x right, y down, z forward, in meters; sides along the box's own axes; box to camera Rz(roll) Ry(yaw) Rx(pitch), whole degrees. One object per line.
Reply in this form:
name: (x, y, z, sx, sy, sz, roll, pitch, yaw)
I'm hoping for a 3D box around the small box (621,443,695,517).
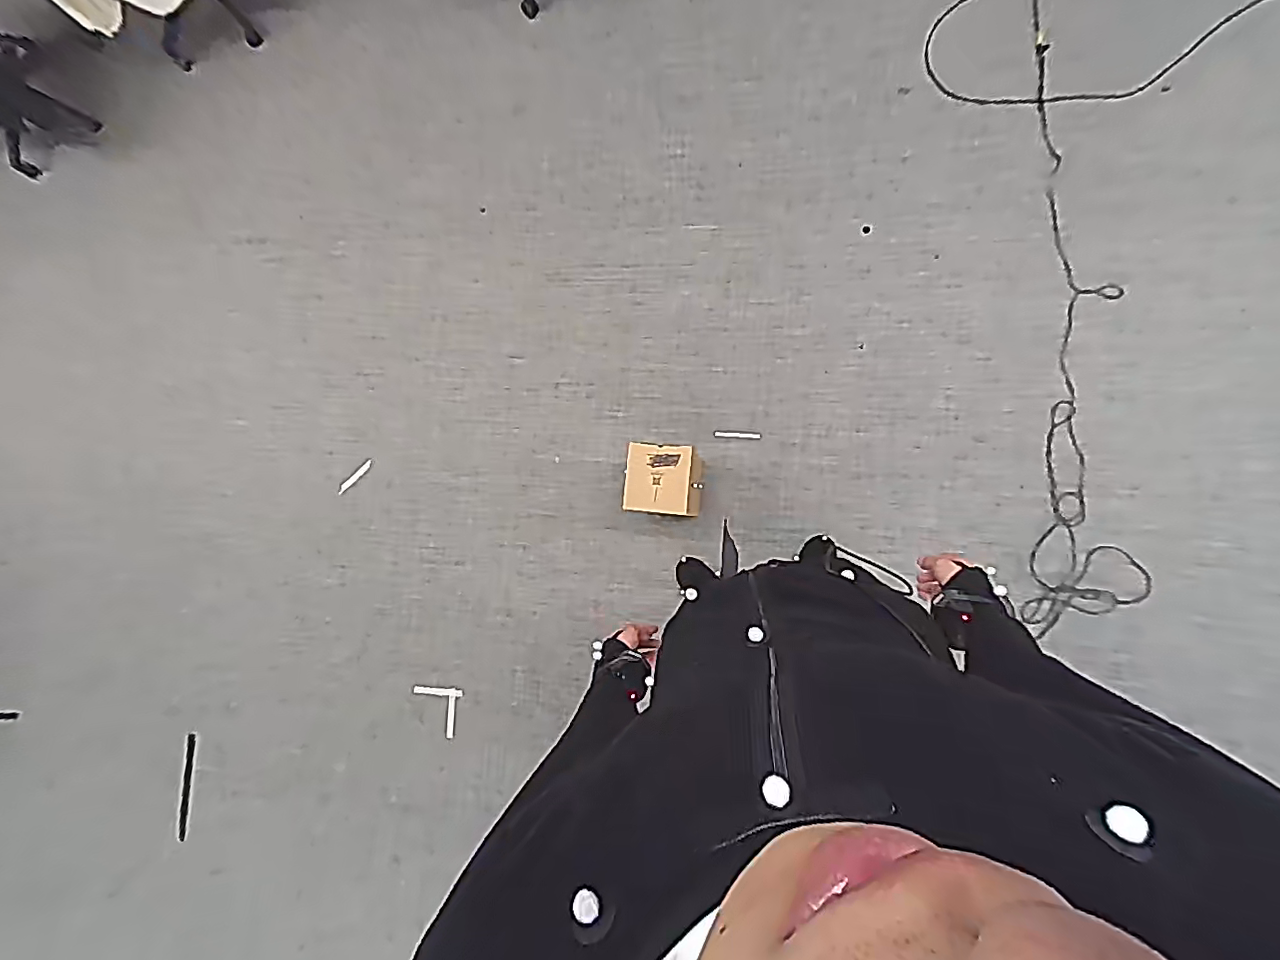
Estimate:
small box: (0.054, 0.003, 1.444, 0.168, 0.176, 0.179, 5, 87, 11)
